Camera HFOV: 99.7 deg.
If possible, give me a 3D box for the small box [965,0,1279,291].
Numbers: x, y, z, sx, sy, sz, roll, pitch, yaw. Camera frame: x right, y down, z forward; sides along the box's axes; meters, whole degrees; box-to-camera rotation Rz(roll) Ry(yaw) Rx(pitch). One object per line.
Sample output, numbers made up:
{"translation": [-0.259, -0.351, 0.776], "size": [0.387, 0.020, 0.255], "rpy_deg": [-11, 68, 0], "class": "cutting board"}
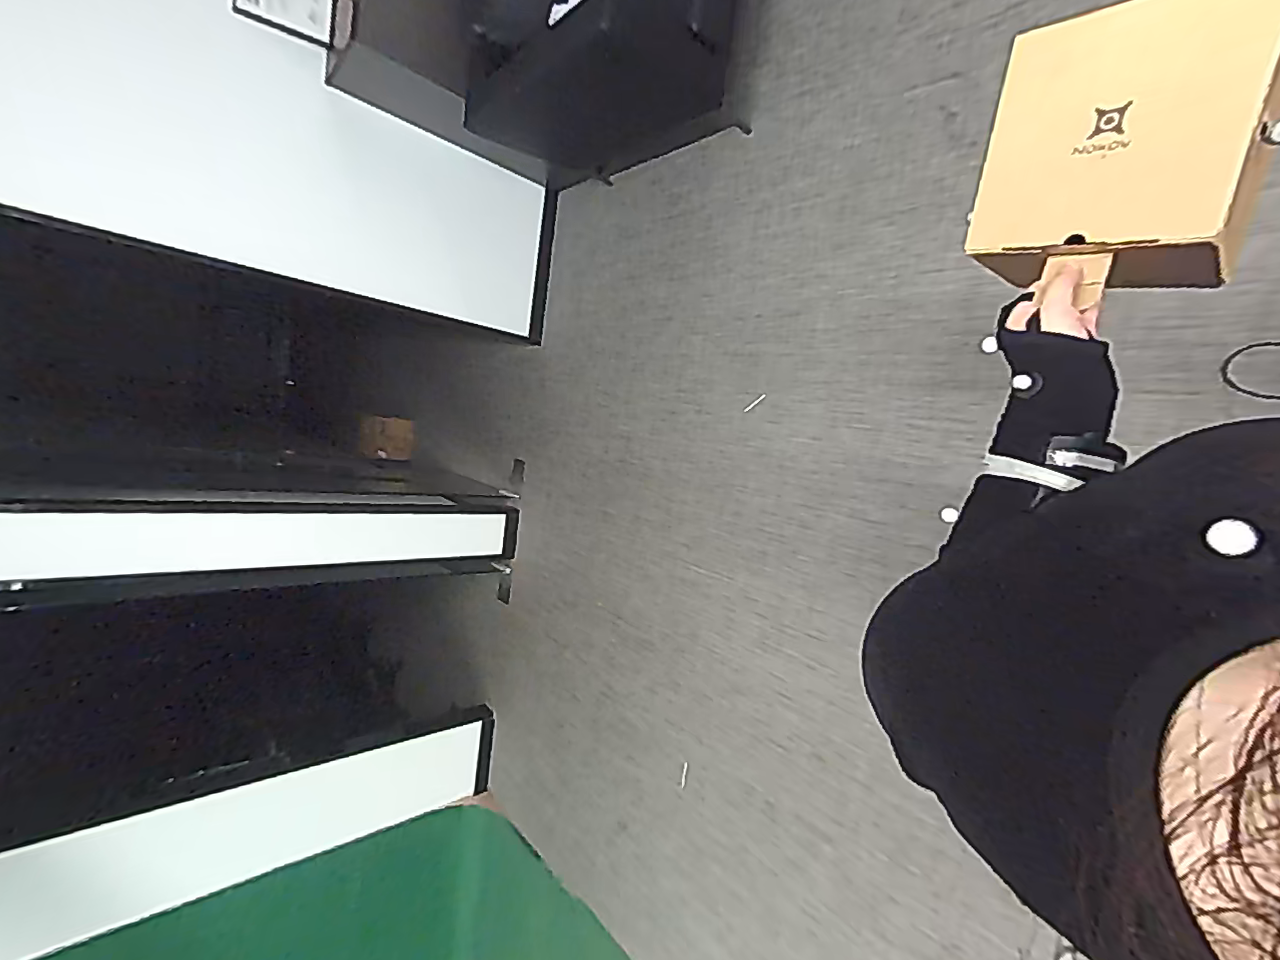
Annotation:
{"translation": [0.420, -0.273, 0.474], "size": [0.168, 0.176, 0.179], "rpy_deg": [21, 109, 45], "class": "small box"}
